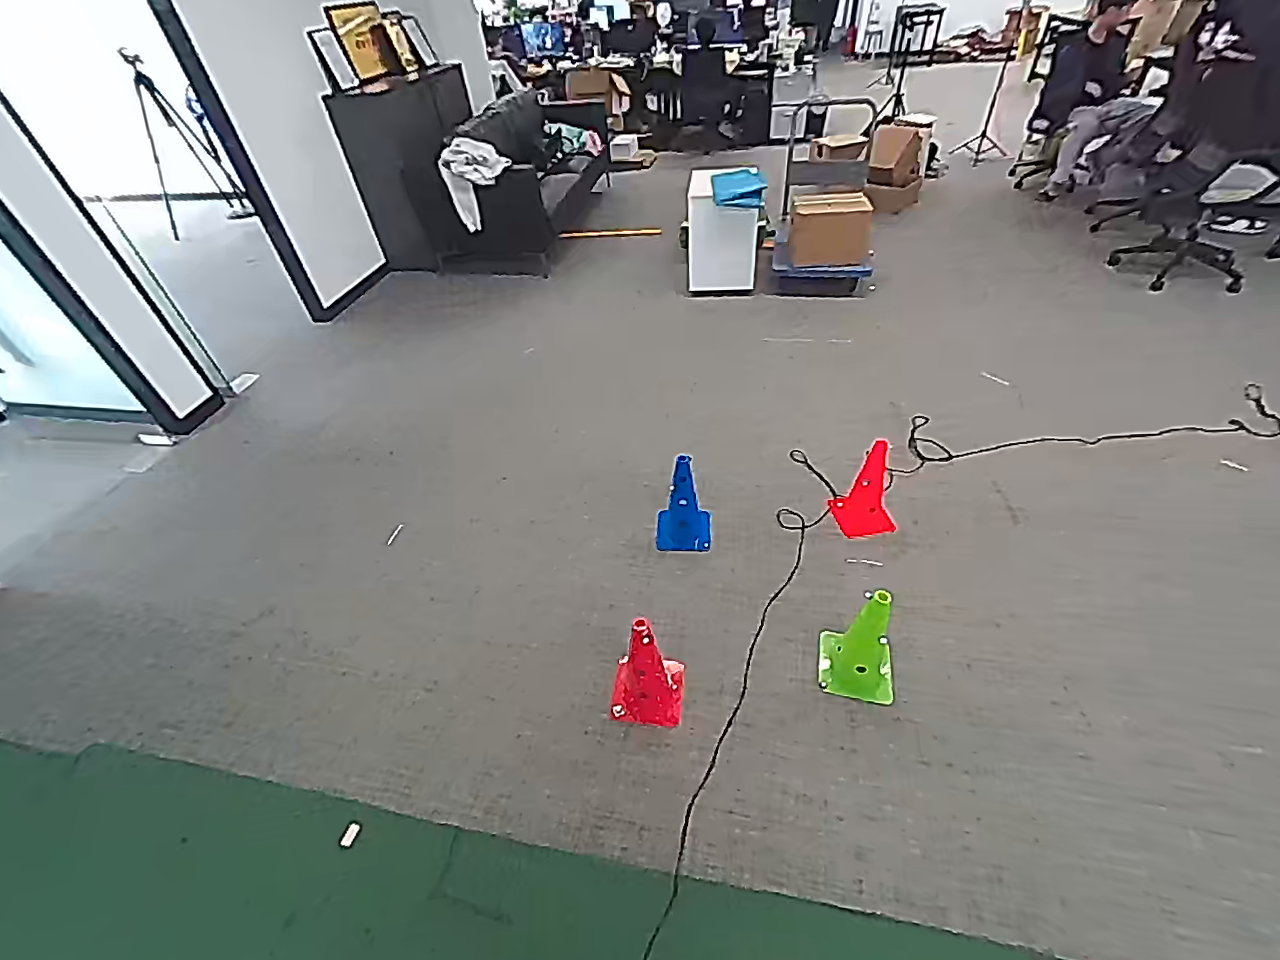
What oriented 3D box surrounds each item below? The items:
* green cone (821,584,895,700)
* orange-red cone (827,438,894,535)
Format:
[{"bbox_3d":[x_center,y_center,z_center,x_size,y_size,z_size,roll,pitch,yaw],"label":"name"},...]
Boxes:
[{"bbox_3d":[0.626,0.413,1.472,0.200,0.368,0.202,7,43,13],"label":"green cone"},{"bbox_3d":[0.808,0.000,1.899,0.198,0.360,0.199,-9,44,-1],"label":"orange-red cone"}]
